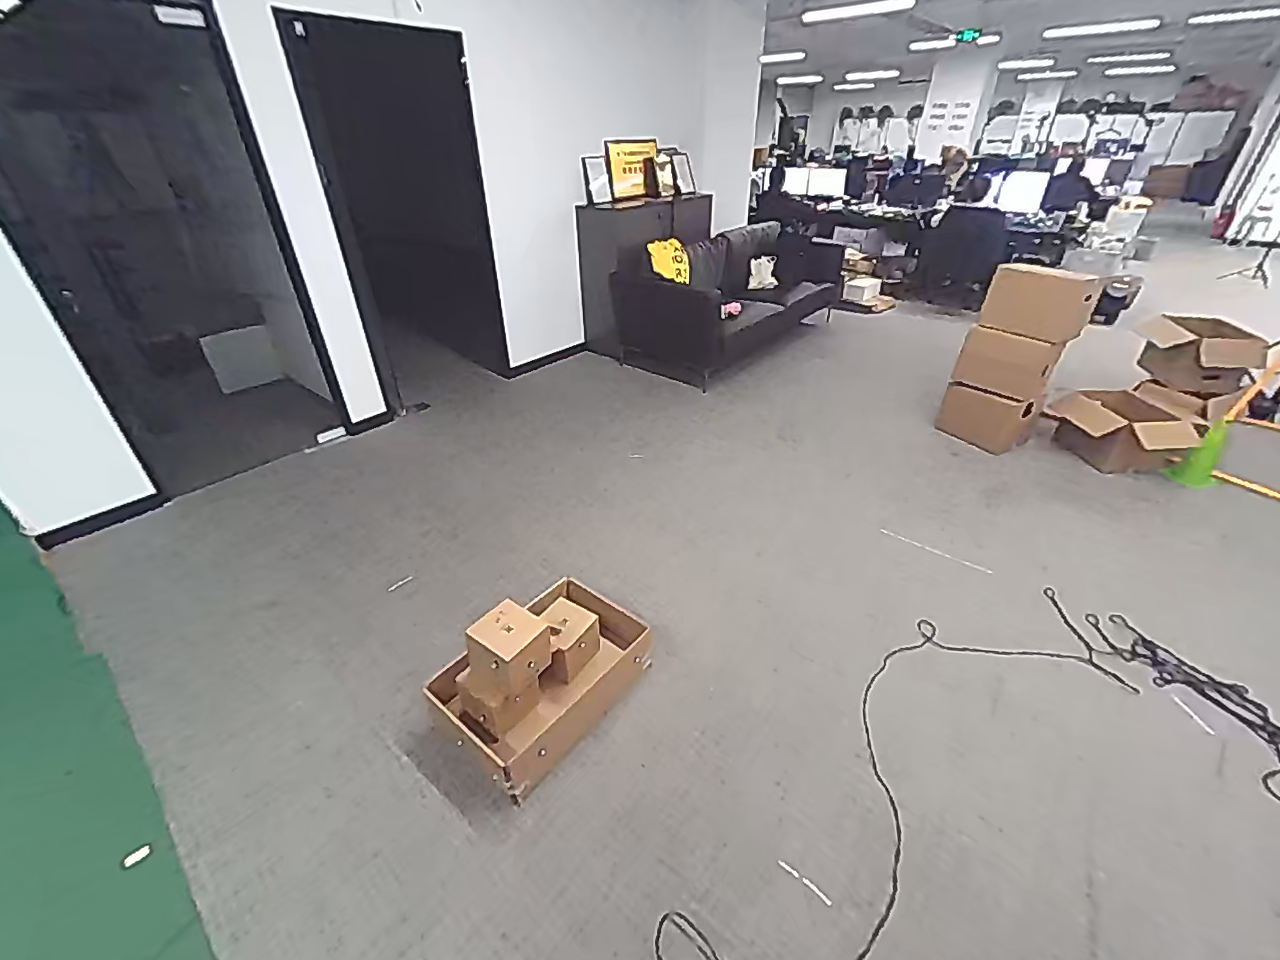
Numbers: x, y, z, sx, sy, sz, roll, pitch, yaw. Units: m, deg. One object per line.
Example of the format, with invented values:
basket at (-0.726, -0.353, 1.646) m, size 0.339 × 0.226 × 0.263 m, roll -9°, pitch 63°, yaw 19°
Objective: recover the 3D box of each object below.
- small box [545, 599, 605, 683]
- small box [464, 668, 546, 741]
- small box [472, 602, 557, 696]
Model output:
small box at (-0.229, 0.540, 1.811) m, size 0.168 × 0.176 × 0.179 m, roll 19°, pitch 38°, yaw 27°
small box at (-0.403, 0.651, 1.646) m, size 0.168 × 0.176 × 0.179 m, roll 22°, pitch 38°, yaw 29°
small box at (-0.360, 0.499, 1.581) m, size 0.179 × 0.176 × 0.168 m, roll 21°, pitch 37°, yaw 28°
